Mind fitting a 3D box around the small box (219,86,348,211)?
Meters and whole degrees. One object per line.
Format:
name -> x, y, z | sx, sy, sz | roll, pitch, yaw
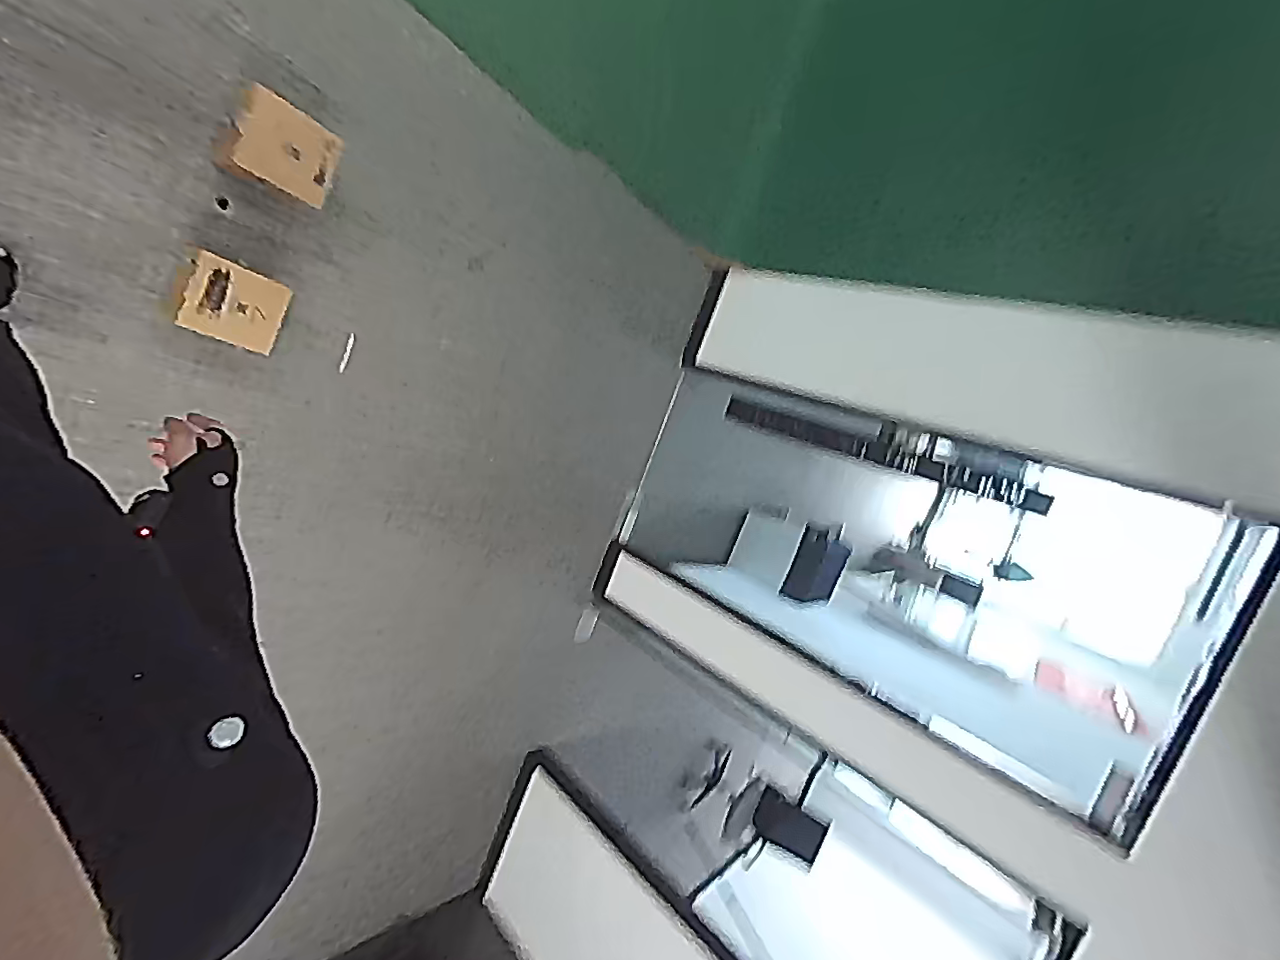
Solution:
small box -> -0.791, -0.719, 1.194 | 0.179, 0.176, 0.168 | 19, 95, -52
